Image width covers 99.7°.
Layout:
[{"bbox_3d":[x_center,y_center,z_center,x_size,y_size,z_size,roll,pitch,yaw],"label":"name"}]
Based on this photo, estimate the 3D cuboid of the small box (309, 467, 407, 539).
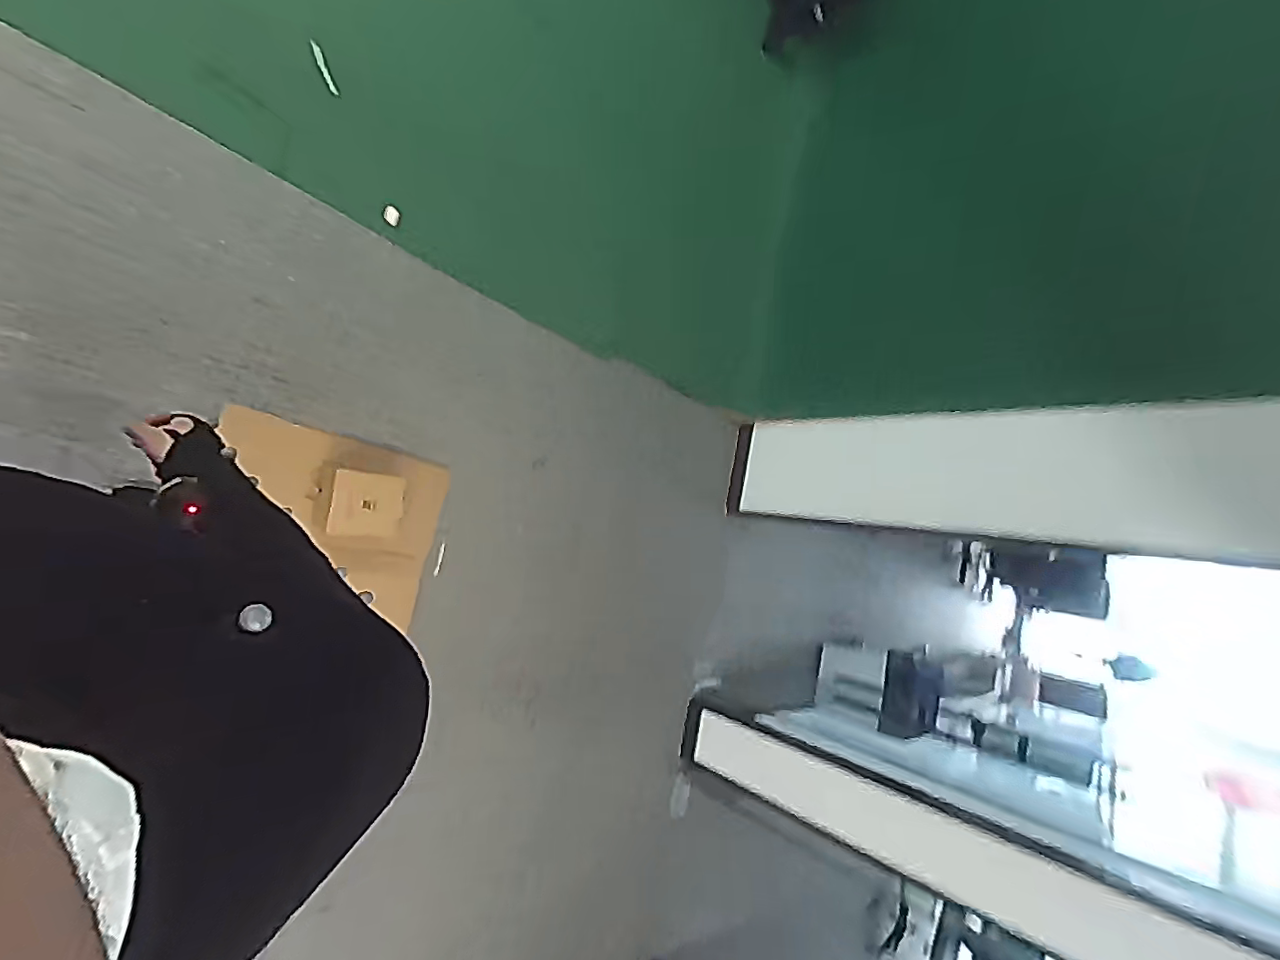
[{"bbox_3d":[-0.763,0.059,1.461,0.179,0.176,0.168,14,83,-43],"label":"small box"}]
